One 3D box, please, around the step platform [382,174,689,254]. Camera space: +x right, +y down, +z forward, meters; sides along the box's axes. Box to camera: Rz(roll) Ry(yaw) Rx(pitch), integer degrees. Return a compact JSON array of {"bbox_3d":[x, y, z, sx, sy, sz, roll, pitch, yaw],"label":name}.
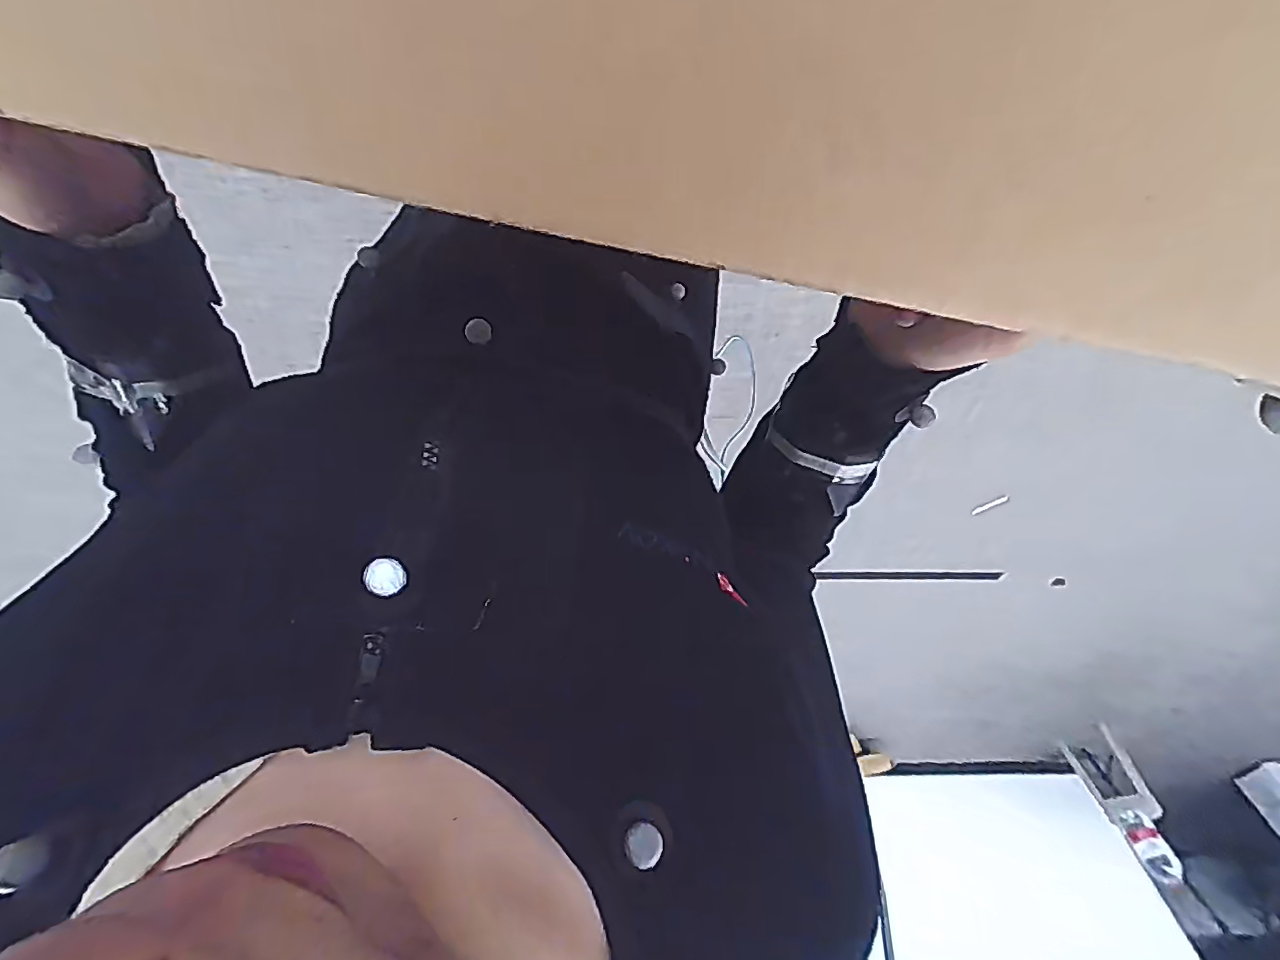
[{"bbox_3d":[-0.195,-0.692,1.157,0.684,0.204,0.286,6,130,-6],"label":"step platform"}]
